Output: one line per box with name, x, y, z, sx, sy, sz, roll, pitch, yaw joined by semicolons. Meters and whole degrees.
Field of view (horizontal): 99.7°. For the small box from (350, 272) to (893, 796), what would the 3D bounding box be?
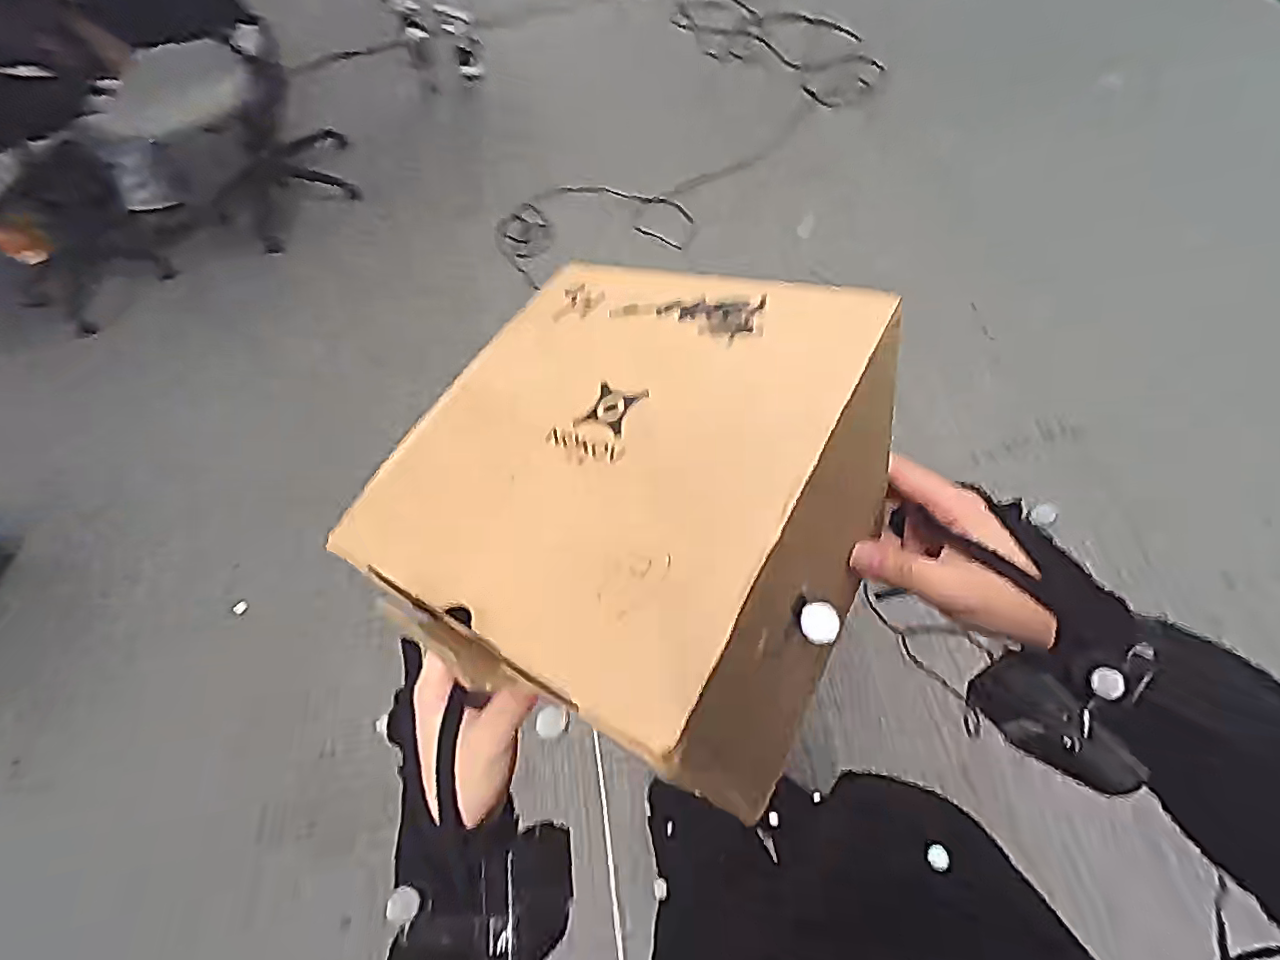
small box;0.012;0.027;0.272;0.168;0.176;0.179;21;66;32
